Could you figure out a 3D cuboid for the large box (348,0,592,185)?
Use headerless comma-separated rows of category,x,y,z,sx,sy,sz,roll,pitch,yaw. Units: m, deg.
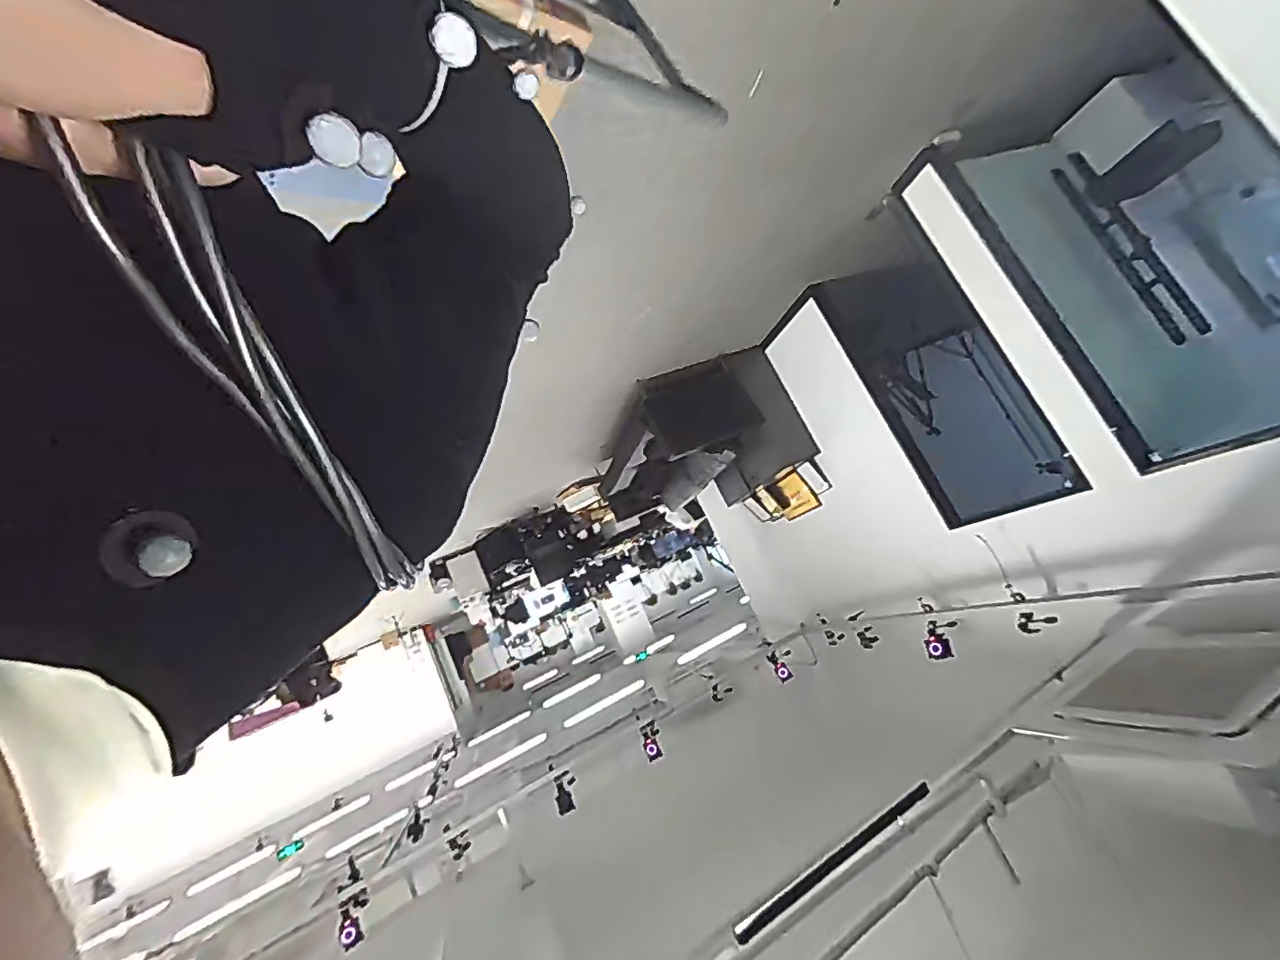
large box,-0.369,-0.912,1.125,0.320,0.320,0.408,-16,167,-42
